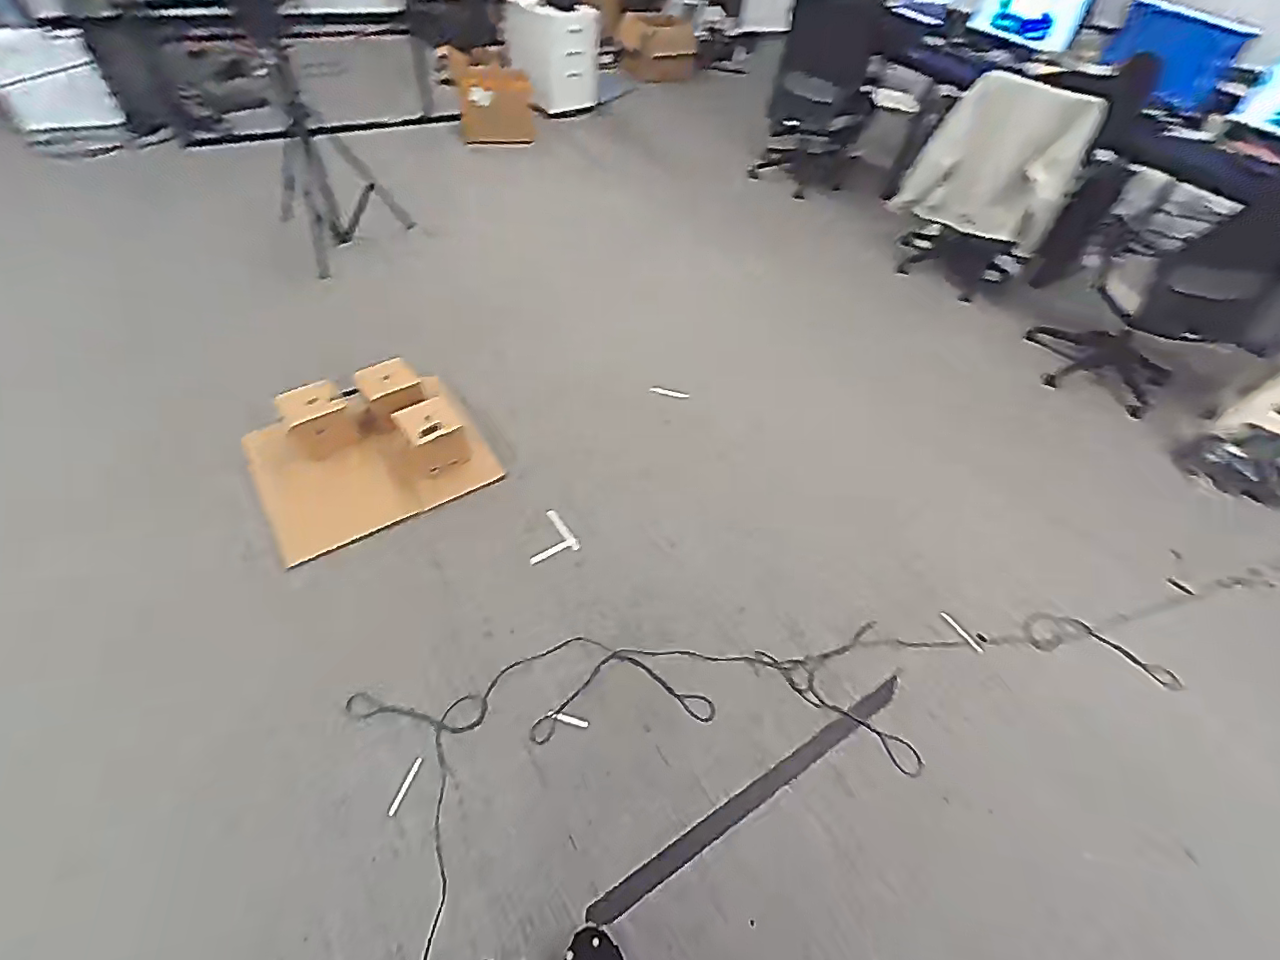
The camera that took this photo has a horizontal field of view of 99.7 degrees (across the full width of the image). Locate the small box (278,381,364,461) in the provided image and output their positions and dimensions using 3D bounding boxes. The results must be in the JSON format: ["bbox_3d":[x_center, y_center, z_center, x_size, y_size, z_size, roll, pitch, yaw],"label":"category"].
[{"bbox_3d":[-1.063,-0.195,1.812,0.179,0.176,0.168,-30,61,-26],"label":"small box"}]

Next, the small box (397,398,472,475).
[{"bbox_3d":[-0.684,-0.138,1.817,0.168,0.176,0.179,-29,60,-27],"label":"small box"}]
